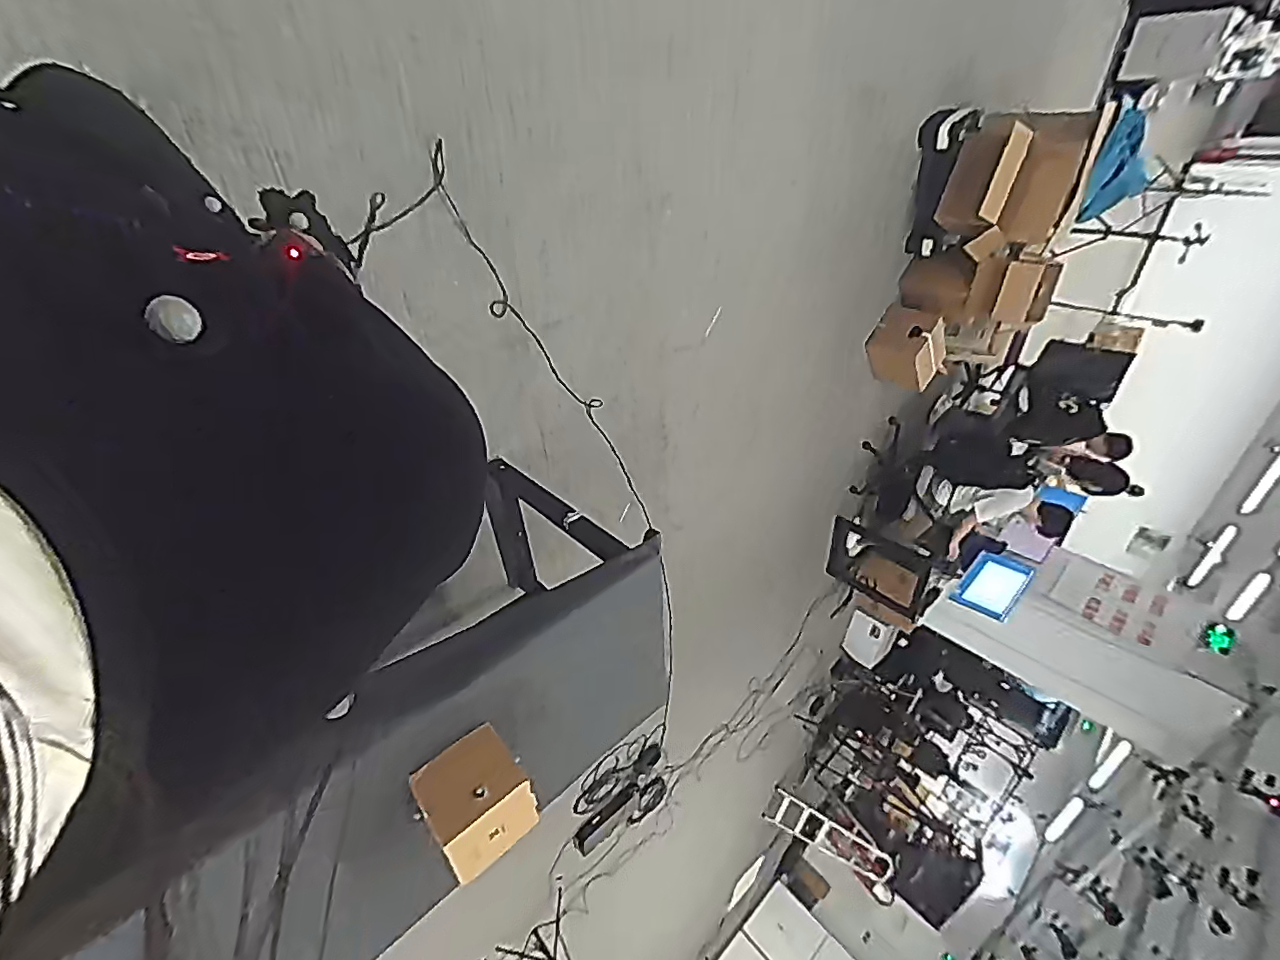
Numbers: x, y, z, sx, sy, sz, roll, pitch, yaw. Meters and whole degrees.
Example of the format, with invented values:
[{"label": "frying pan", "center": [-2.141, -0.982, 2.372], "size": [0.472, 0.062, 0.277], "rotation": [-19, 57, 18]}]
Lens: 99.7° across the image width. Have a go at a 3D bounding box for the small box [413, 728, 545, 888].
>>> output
[{"label": "small box", "center": [-0.314, 0.634, 1.065], "size": [0.179, 0.176, 0.168], "rotation": [-28, 130, -32]}]
